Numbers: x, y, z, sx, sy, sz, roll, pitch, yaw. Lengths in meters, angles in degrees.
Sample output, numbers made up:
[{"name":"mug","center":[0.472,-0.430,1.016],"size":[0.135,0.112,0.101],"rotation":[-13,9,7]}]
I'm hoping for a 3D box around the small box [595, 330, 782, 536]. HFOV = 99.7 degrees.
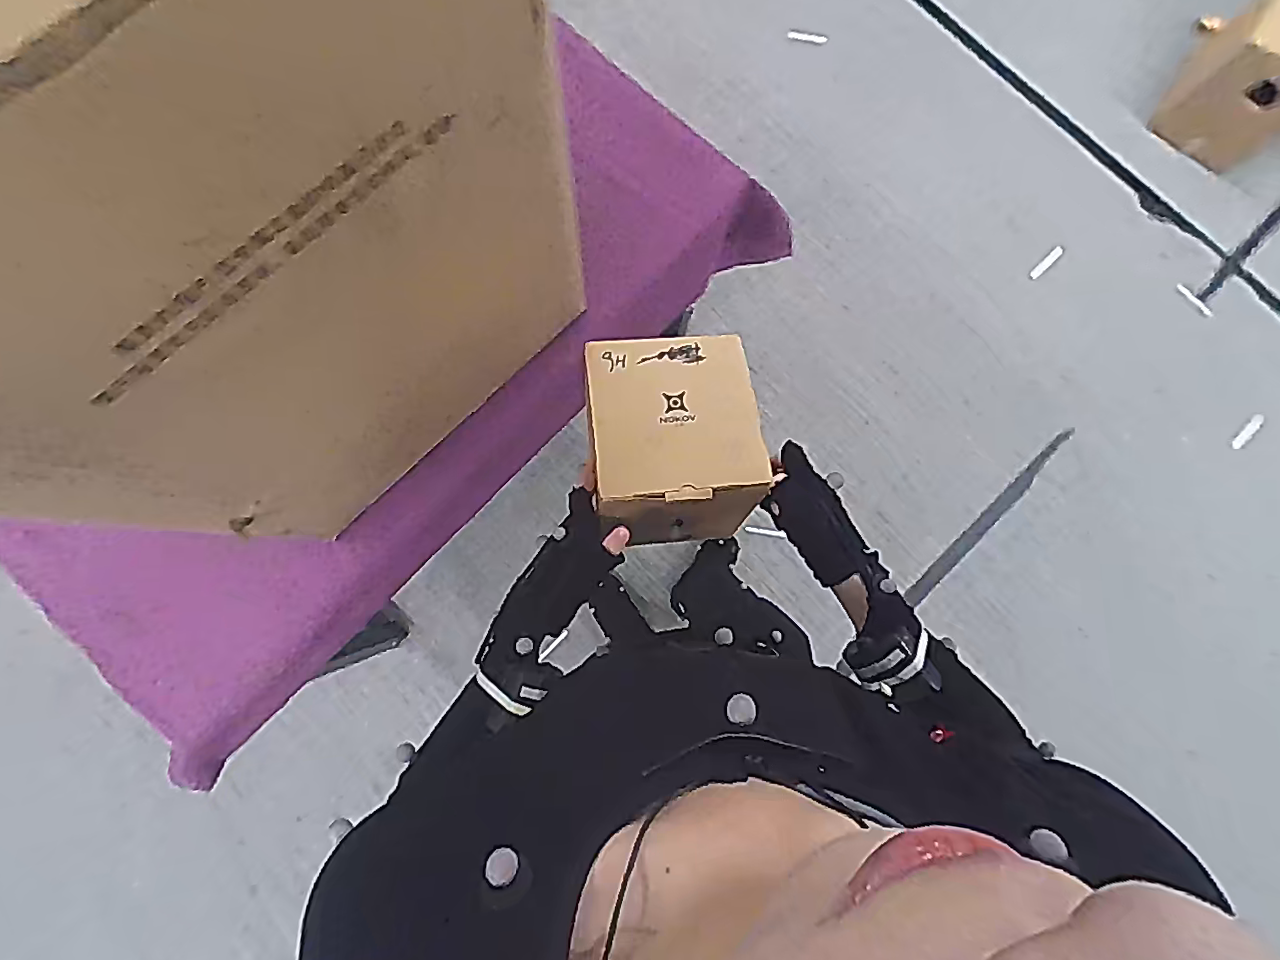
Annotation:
[{"name":"small box","center":[0.038,-0.041,0.593],"size":[0.168,0.176,0.179],"rotation":[-3,69,-7]}]
